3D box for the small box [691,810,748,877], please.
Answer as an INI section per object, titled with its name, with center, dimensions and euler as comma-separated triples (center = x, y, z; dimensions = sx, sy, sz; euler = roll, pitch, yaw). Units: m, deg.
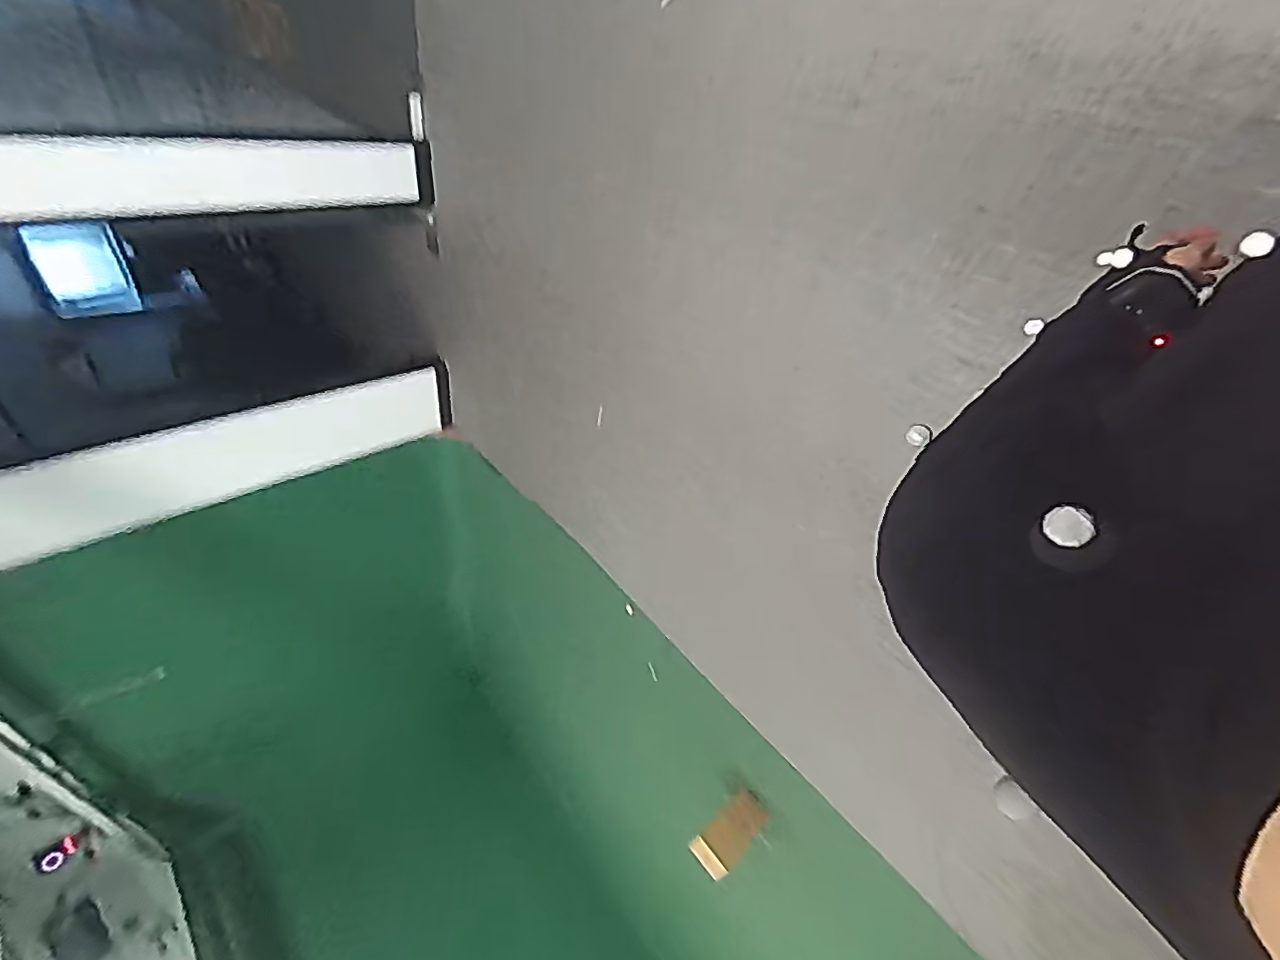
[small box]
center = 0.362, 1.633, 2.439
dimensions = 0.168, 0.176, 0.179
euler = 42, 138, 27
